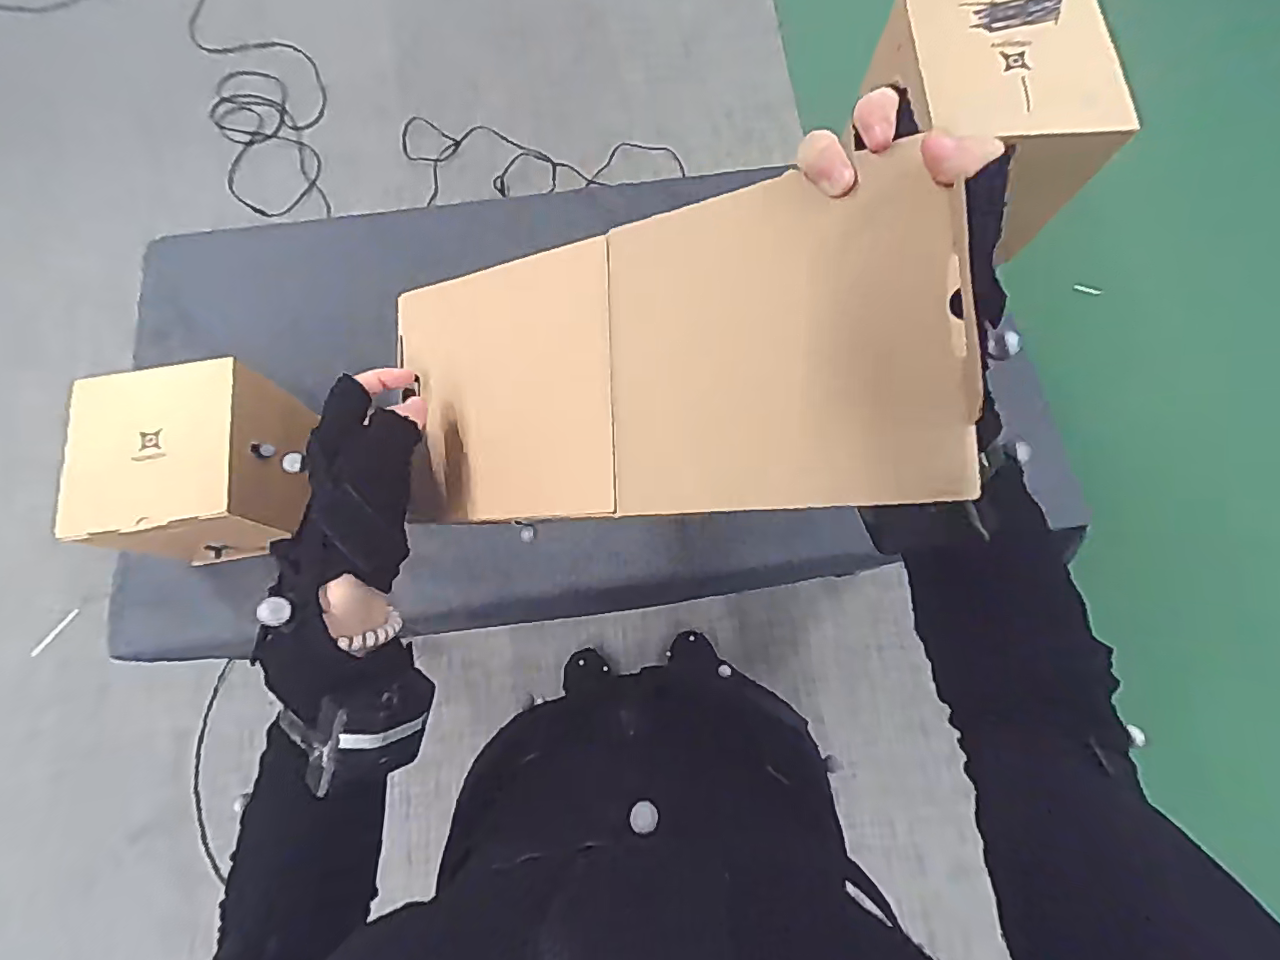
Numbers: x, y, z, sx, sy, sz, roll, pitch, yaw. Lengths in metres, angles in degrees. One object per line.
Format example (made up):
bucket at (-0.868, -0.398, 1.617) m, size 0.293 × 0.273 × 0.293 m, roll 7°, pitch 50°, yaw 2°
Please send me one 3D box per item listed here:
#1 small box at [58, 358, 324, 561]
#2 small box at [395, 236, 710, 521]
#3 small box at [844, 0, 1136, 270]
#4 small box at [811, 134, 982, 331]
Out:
small box at (-0.491, -0.014, 0.622) m, size 0.168 × 0.176 × 0.179 m, roll -9°, pitch 74°, yaw -3°
small box at (-0.057, -0.051, 0.414) m, size 0.179 × 0.176 × 0.168 m, roll -3°, pitch 86°, yaw 25°
small box at (0.316, -0.336, 0.534) m, size 0.168 × 0.176 × 0.179 m, roll -2°, pitch 75°, yaw 1°
small box at (0.326, -0.309, 0.697) m, size 0.179 × 0.176 × 0.168 m, roll 4°, pitch 75°, yaw 2°
